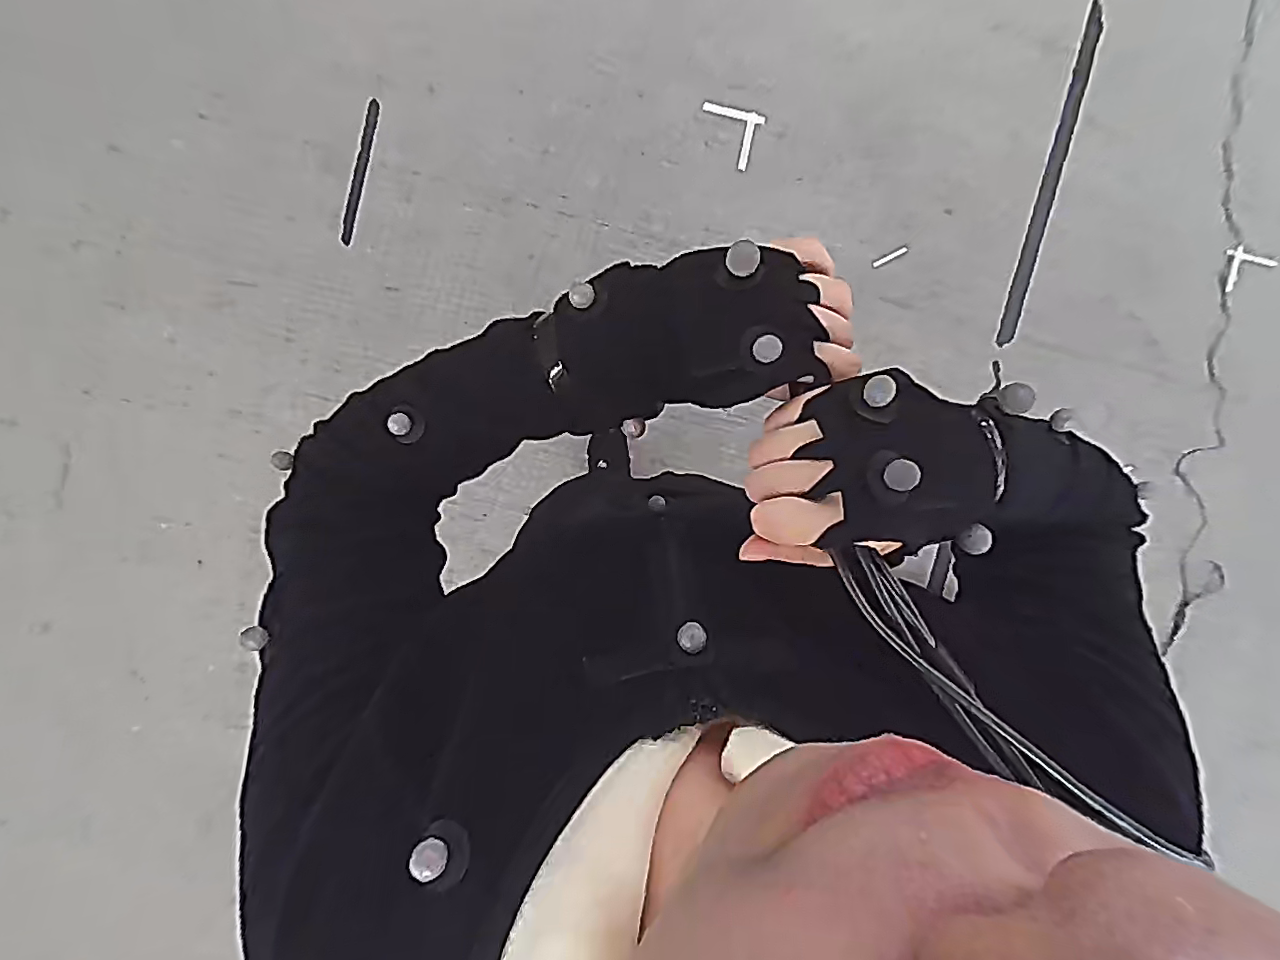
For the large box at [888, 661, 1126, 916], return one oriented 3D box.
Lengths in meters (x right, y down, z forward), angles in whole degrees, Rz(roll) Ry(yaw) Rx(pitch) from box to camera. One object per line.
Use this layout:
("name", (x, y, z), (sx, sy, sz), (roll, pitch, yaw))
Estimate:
("large box", (0.800, 0.666, 1.229), (0.320, 0.320, 0.408), (5, 92, -2))
